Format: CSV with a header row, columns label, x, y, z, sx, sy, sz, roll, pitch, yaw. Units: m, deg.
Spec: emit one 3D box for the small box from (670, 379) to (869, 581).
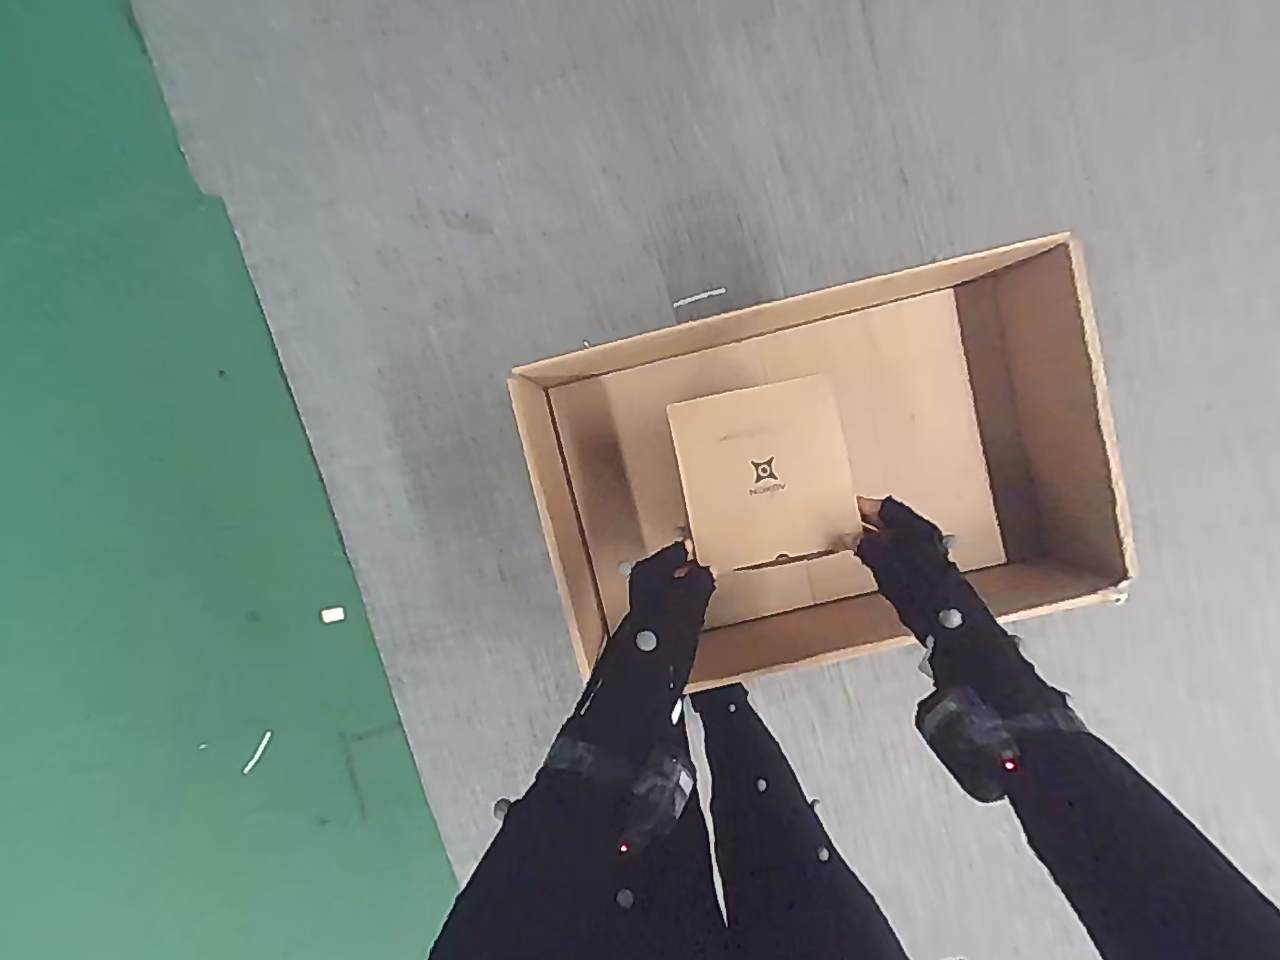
label,x,y,z,sx,sy,sz,roll,pitch,yaw
small box,0.131,0.002,0.610,0.168,0.176,0.179,-12,87,1
